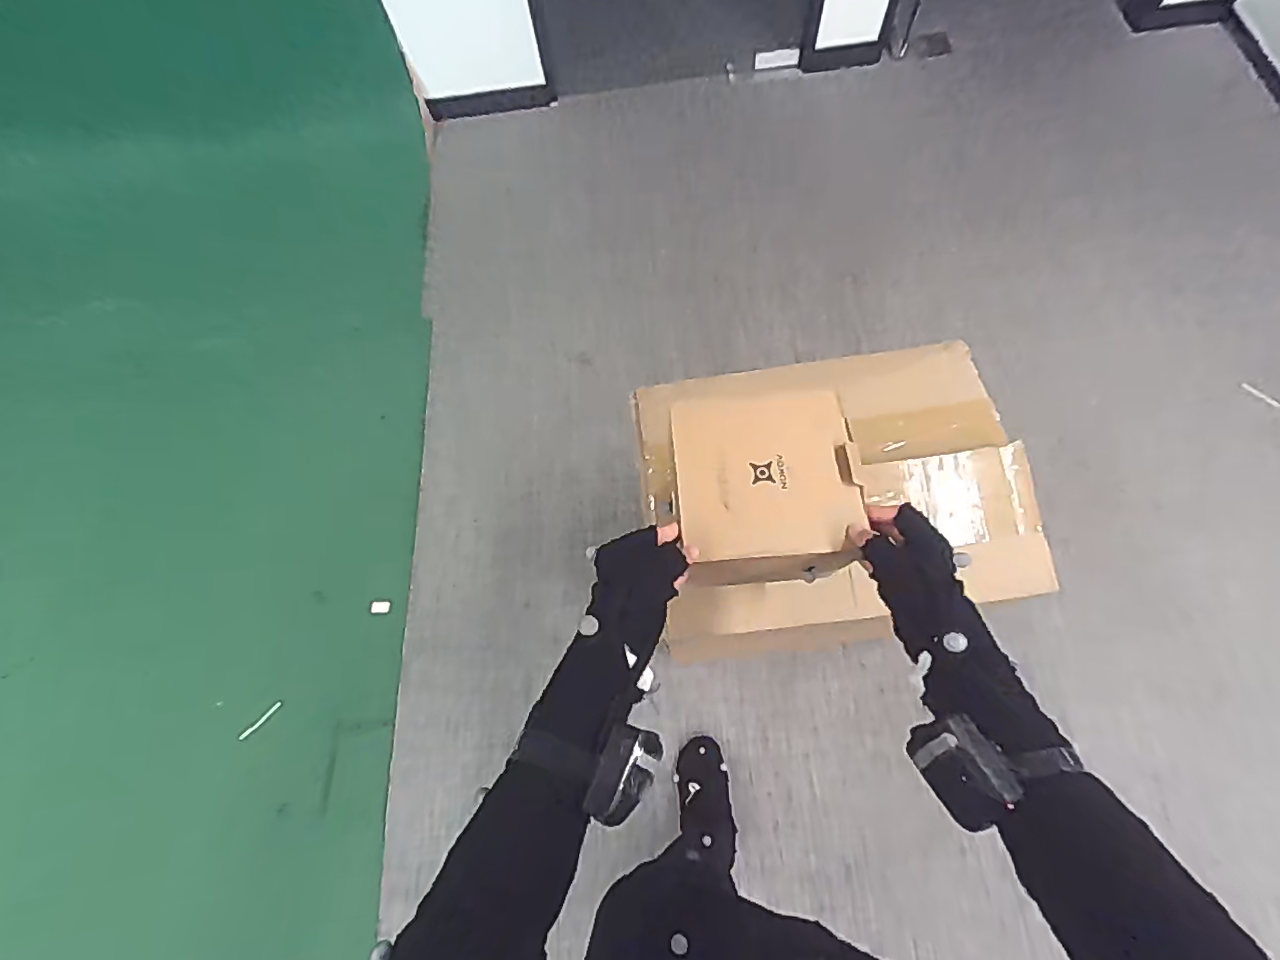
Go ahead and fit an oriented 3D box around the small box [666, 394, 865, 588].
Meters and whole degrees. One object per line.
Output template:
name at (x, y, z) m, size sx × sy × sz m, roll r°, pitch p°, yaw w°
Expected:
small box at (0.123, 0.022, 0.605) m, size 0.179 × 0.176 × 0.168 m, roll -6°, pitch 69°, yaw 2°
